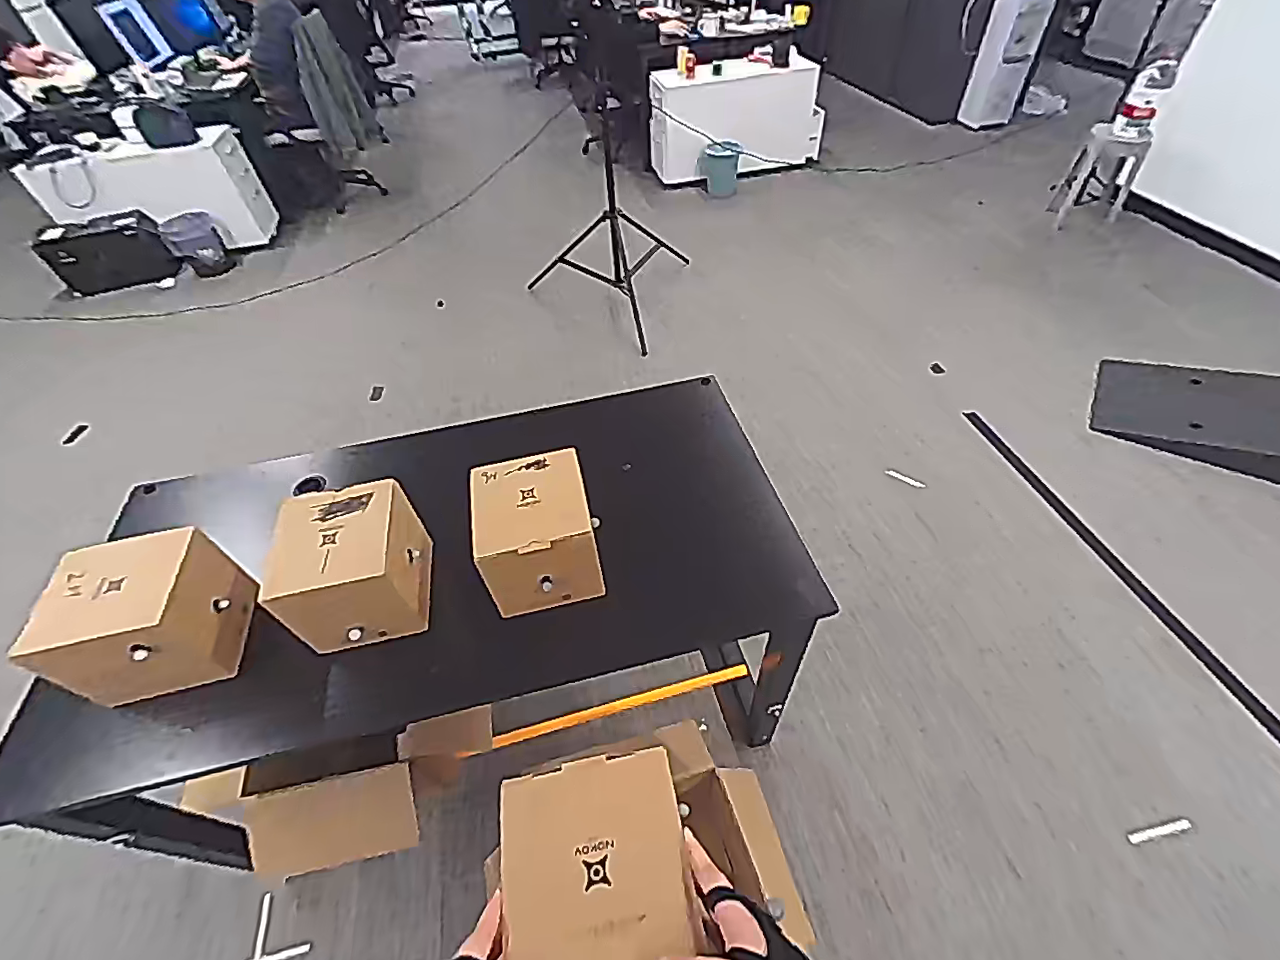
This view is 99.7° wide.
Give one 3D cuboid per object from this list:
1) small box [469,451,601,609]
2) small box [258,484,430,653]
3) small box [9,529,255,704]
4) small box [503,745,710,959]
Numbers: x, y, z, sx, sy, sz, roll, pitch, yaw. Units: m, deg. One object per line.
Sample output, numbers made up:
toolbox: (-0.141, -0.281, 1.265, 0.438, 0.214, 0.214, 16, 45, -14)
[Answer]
small box: (-0.161, 0.086, 0.851, 0.168, 0.176, 0.179, -12, 49, -6)
small box: (-0.432, 0.135, 0.825, 0.168, 0.176, 0.179, -12, 49, -6)
small box: (-0.706, 0.200, 0.785, 0.179, 0.176, 0.168, -13, 48, -7)
small box: (-0.037, 0.396, 0.536, 0.168, 0.176, 0.179, -10, 46, -7)
